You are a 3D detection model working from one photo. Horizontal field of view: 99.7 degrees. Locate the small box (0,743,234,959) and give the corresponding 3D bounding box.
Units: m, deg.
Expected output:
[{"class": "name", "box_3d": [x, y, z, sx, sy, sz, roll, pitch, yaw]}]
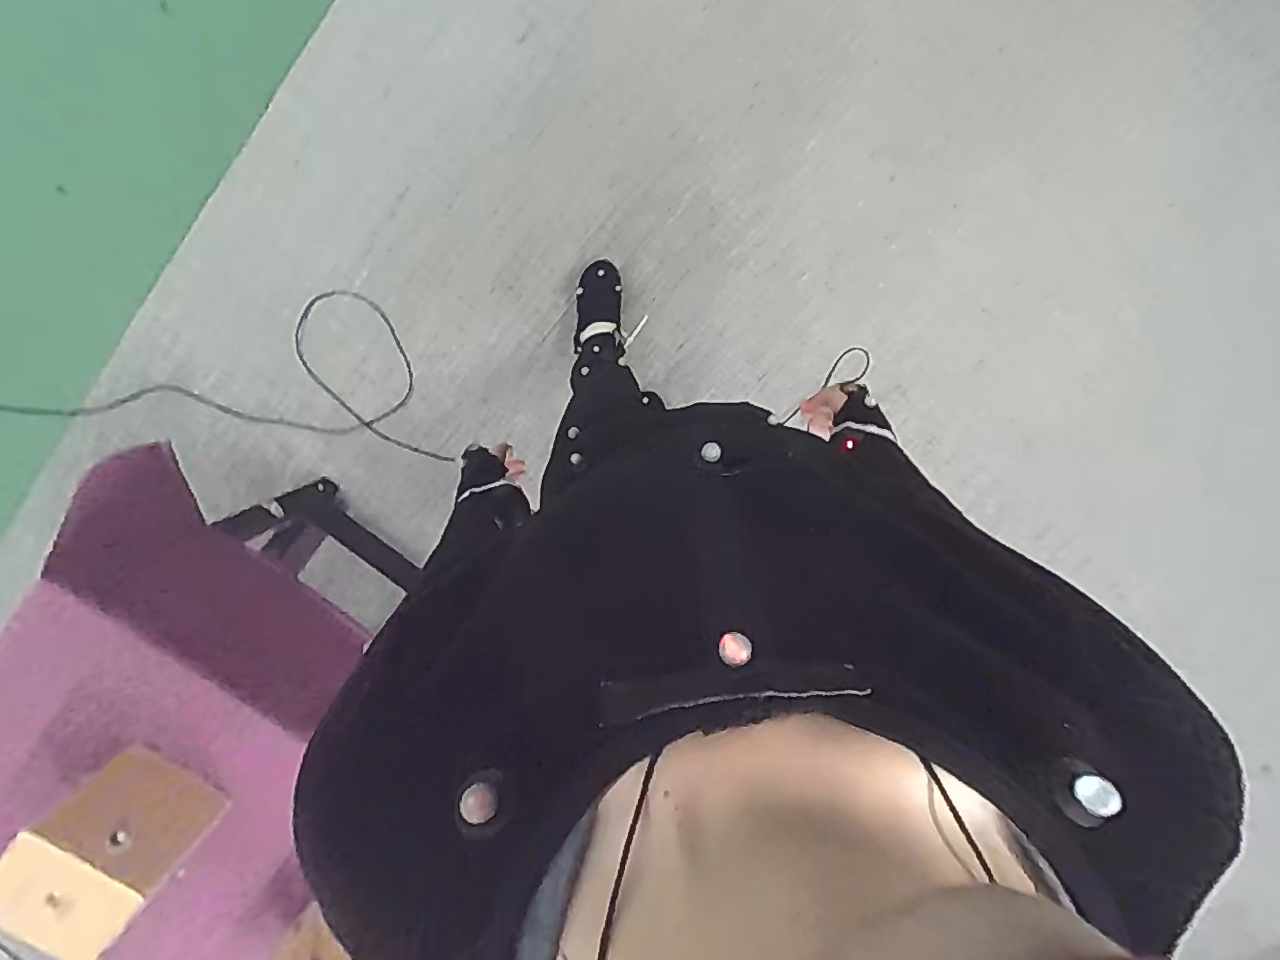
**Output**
[{"class": "small box", "box_3d": [-0.761, 0.533, 0.795, 0.179, 0.176, 0.168, 41, 99, -9]}]
